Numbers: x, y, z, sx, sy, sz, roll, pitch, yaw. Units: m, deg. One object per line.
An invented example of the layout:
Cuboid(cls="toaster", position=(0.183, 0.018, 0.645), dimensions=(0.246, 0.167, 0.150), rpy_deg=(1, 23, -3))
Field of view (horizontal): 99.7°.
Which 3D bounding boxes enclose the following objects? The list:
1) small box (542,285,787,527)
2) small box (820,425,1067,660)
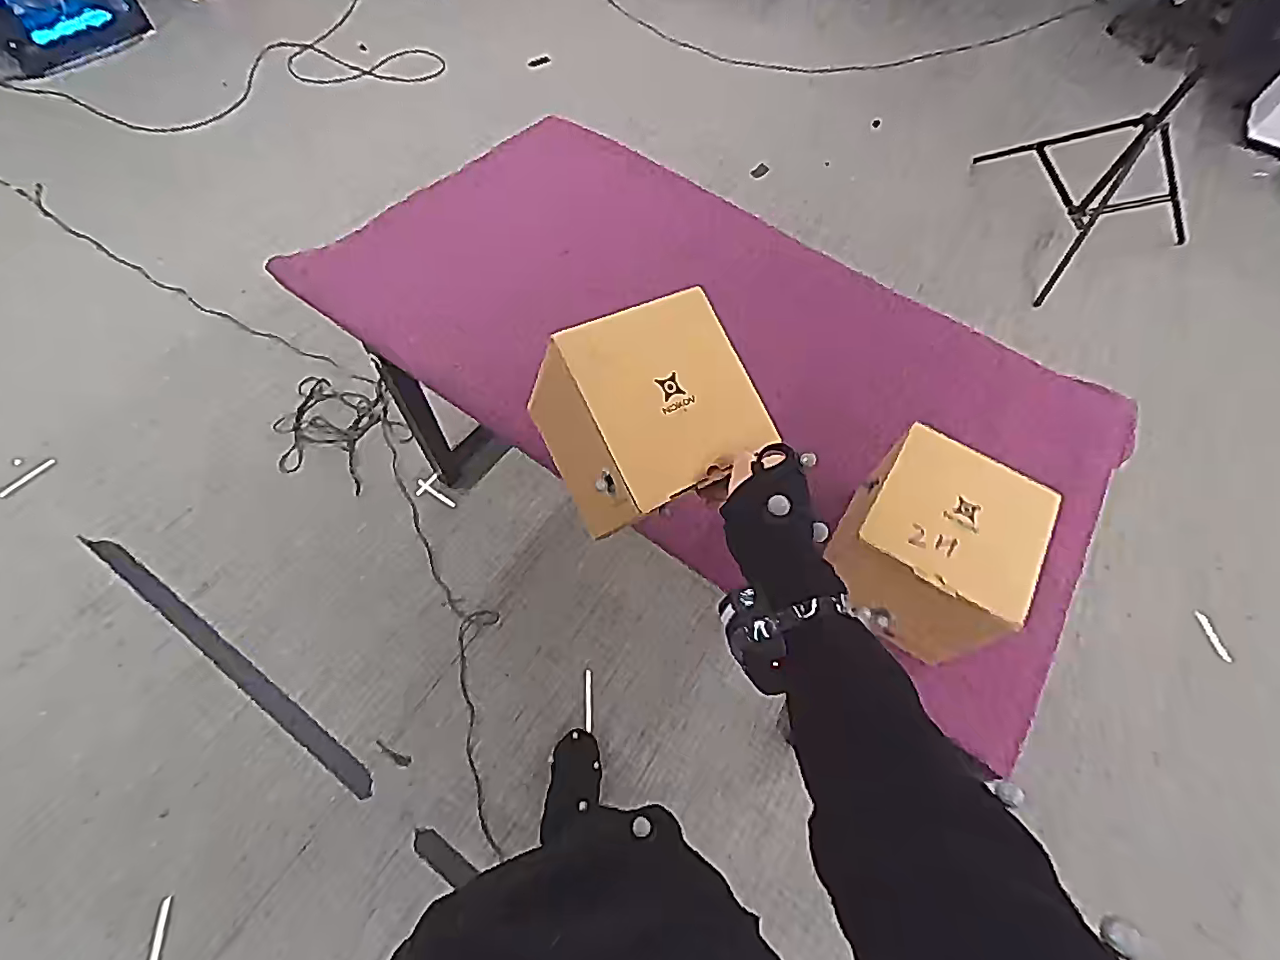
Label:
Cuboid(cls="small box", position=(0.012, -0.068, 0.567), dimensions=(0.168, 0.176, 0.179), rpy_deg=(-24, 86, -23))
Cuboid(cls="small box", position=(0.332, 0.077, 0.620), dimensions=(0.168, 0.176, 0.179), rpy_deg=(31, 64, 14))
